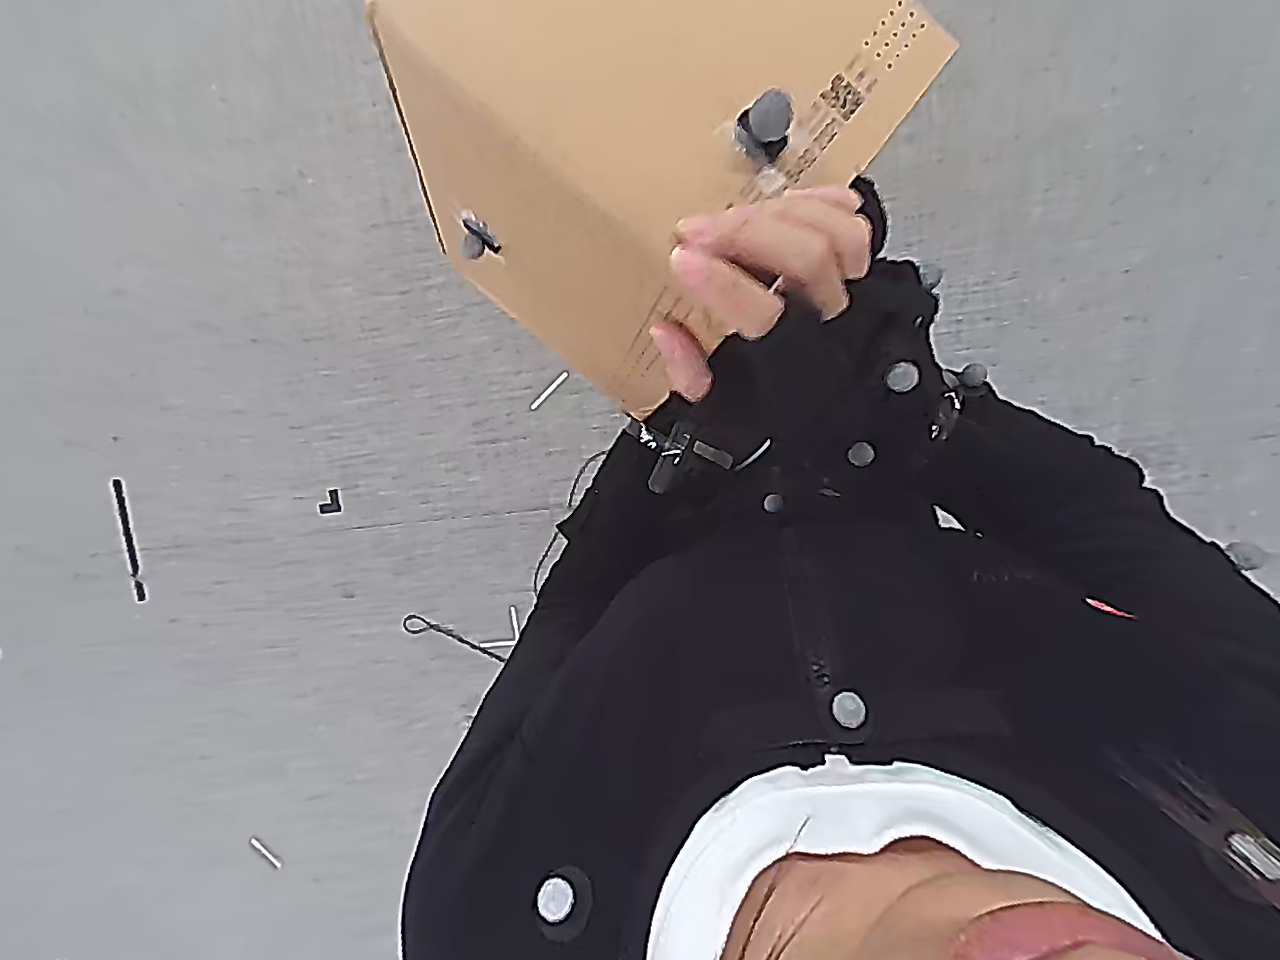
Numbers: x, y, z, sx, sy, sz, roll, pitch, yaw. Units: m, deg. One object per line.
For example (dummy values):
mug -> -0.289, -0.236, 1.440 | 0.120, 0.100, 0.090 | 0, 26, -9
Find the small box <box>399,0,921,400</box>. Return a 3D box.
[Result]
small box -> 0.006, -0.168, 0.302 | 0.176, 0.179, 0.168 | 38, 77, -7
